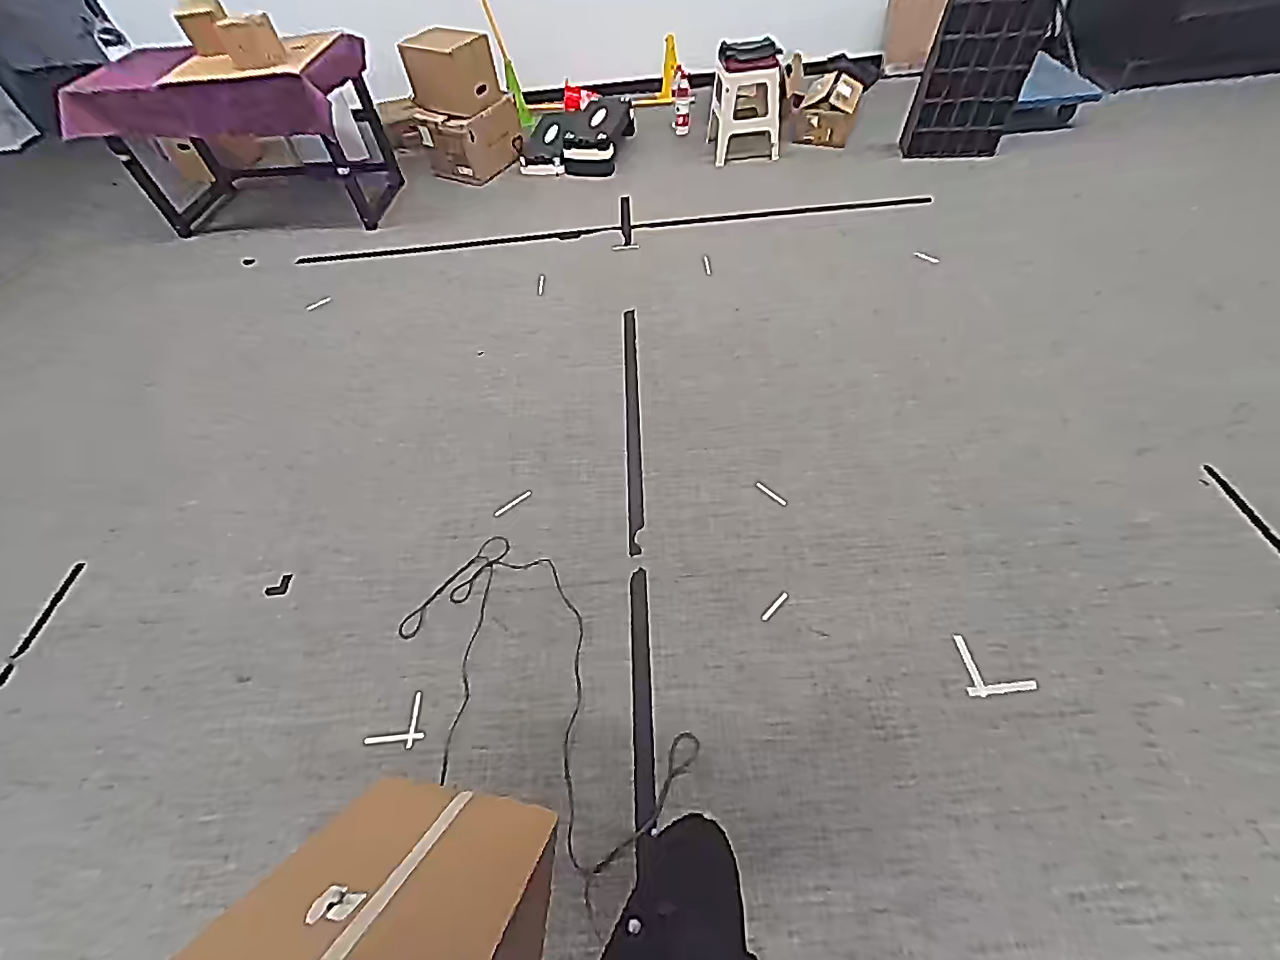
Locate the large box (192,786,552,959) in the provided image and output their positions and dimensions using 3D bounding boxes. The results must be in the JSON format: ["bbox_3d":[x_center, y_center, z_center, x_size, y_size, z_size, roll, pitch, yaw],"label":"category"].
[{"bbox_3d":[-0.332,0.683,0.704,0.320,0.408,0.320,6,90,8],"label":"large box"}]
